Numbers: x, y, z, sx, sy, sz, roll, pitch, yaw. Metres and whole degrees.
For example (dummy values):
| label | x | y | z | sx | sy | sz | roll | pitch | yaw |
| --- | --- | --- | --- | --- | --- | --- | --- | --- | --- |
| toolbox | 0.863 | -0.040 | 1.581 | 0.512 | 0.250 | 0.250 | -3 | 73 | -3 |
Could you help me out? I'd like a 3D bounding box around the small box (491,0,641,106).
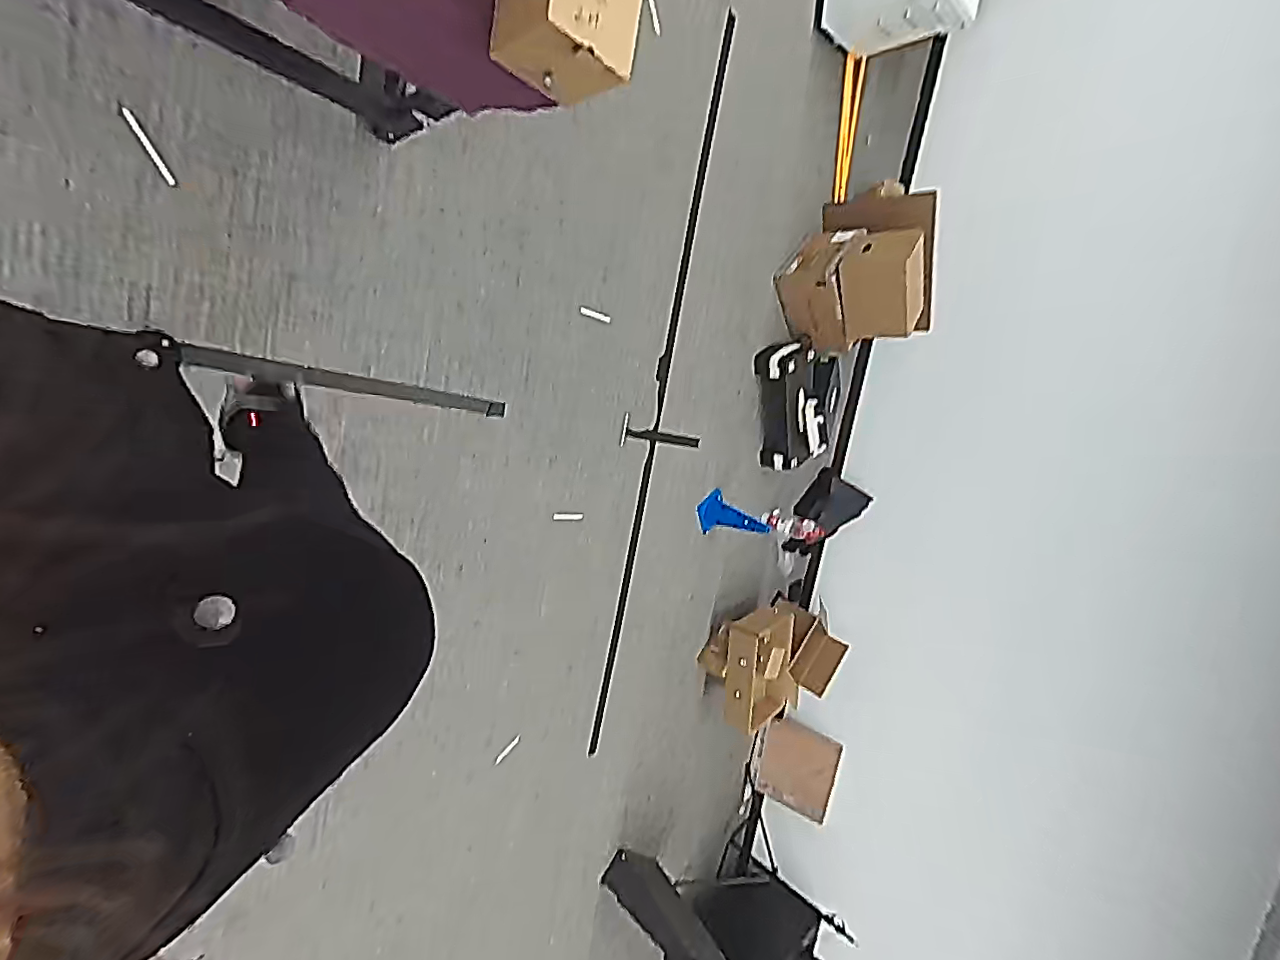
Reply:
| label | x | y | z | sx | sy | sz | roll | pitch | yaw |
| --- | --- | --- | --- | --- | --- | --- | --- | --- | --- |
| small box | -0.120 | -0.750 | 0.868 | 0.168 | 0.176 | 0.179 | 3 | 101 | -46 |
